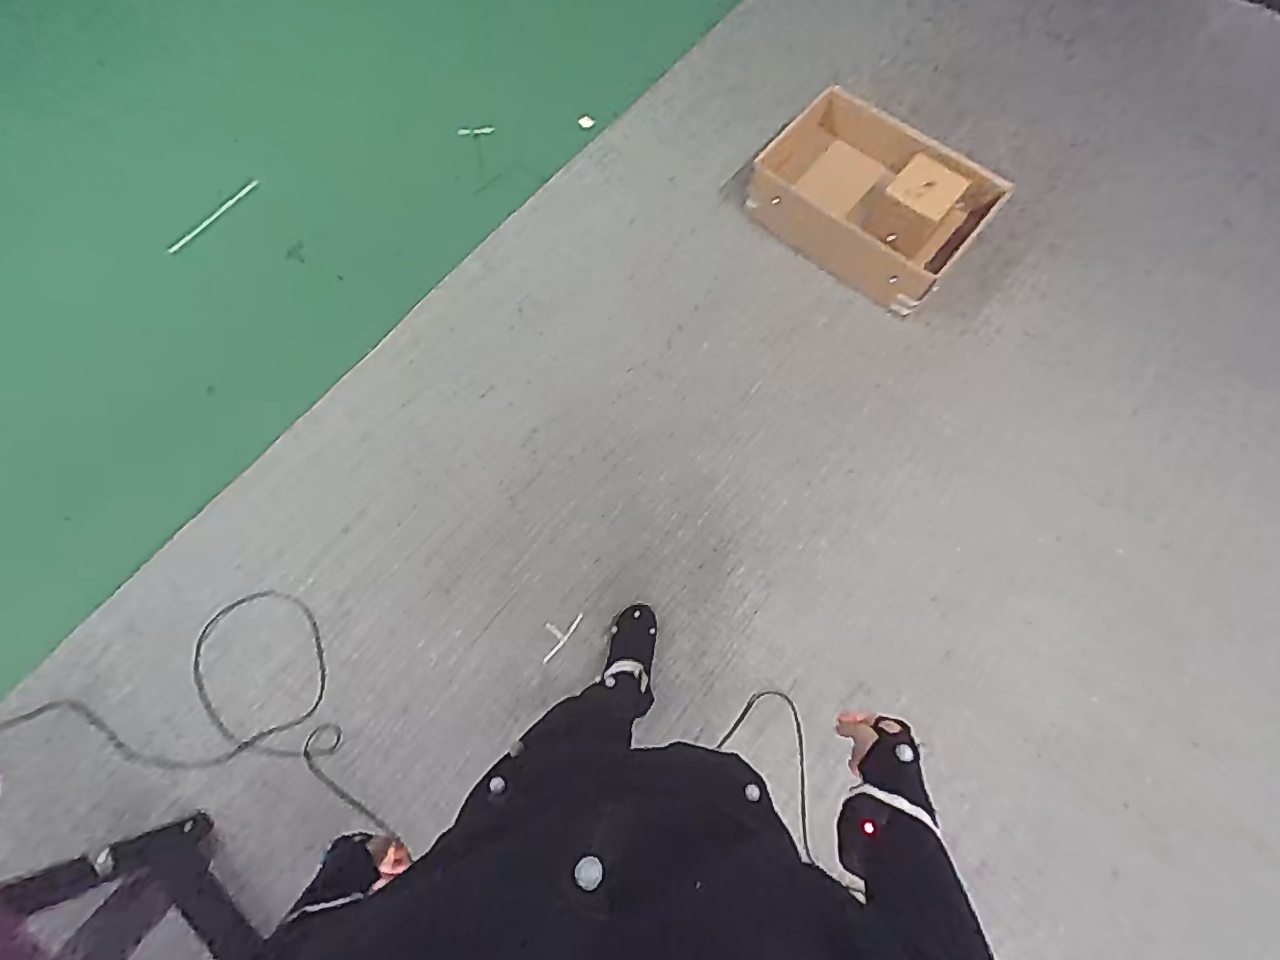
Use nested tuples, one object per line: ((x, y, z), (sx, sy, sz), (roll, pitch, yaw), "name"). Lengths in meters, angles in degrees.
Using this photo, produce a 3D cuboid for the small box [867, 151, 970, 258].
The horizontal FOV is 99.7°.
((0.783, -0.780, 1.543), (0.168, 0.176, 0.179), (40, 79, 14), "small box")
